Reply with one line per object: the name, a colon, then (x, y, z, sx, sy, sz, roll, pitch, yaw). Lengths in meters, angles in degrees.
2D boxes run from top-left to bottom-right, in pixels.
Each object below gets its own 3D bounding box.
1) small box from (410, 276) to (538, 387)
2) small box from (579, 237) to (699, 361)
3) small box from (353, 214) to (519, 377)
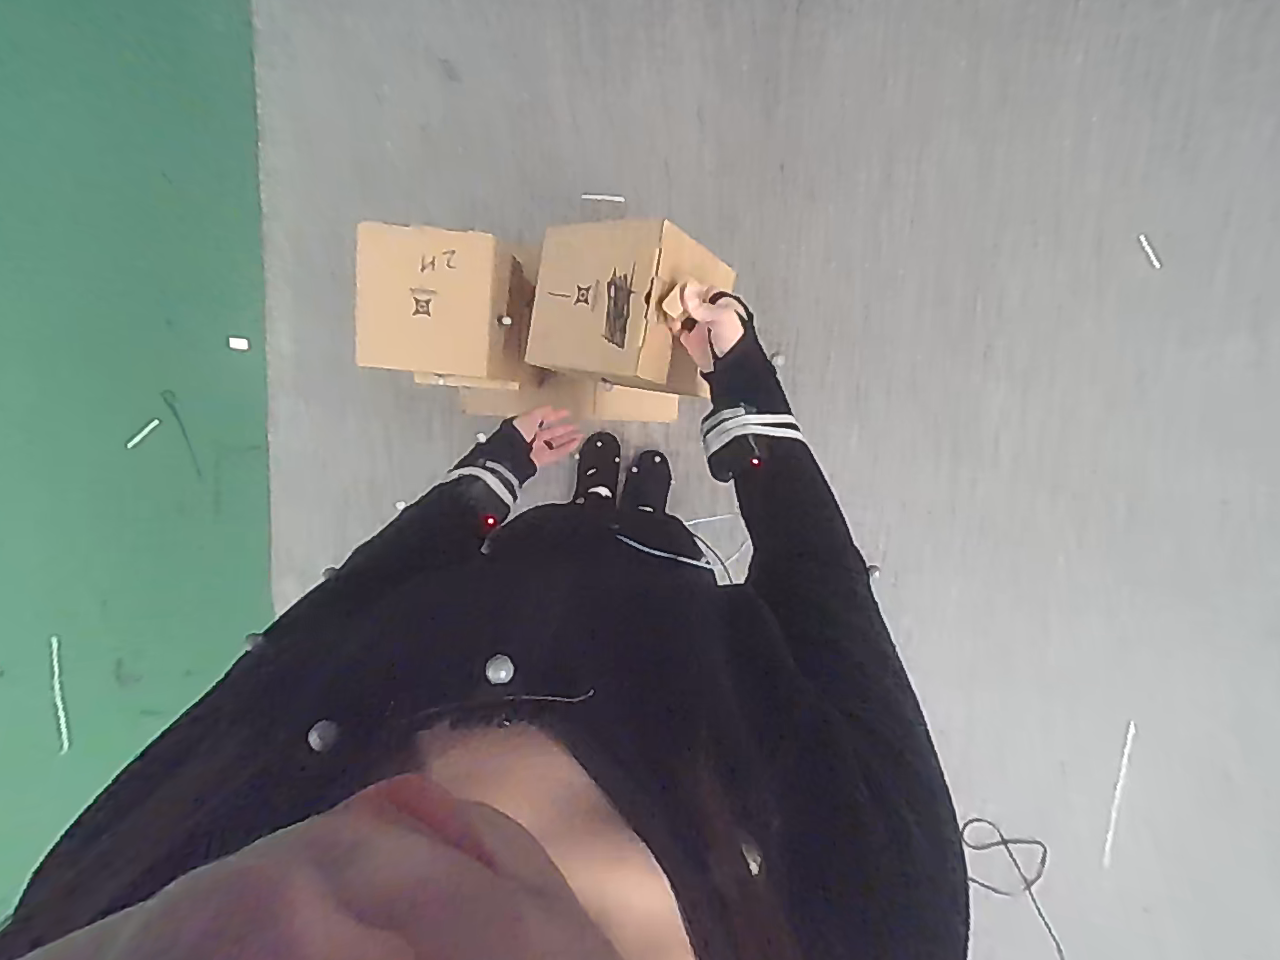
small box: (-0.269, -0.251, 0.904, 0.168, 0.176, 0.179, 5, 99, -2)
small box: (-0.002, -0.290, 0.898, 0.179, 0.176, 0.168, 3, 98, 1)
small box: (-0.267, -0.238, 0.740, 0.168, 0.176, 0.179, 6, 99, -3)
